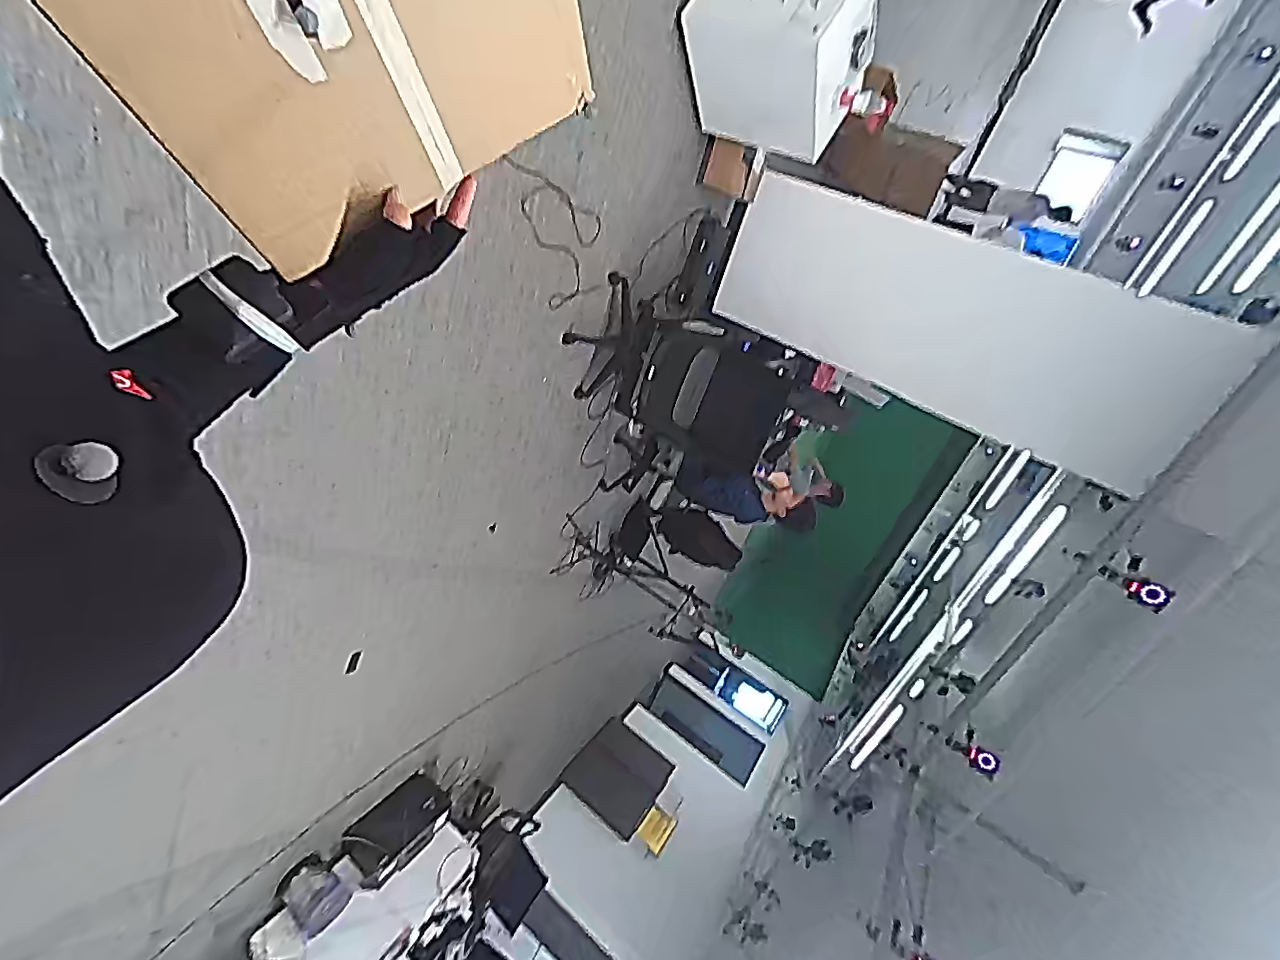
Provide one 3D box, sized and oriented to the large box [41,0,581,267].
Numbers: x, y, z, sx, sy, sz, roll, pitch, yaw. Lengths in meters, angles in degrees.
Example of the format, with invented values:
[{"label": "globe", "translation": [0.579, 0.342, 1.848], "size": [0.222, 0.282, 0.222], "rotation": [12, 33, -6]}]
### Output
[{"label": "large box", "translation": [-0.286, -0.444, 0.349], "size": [0.320, 0.320, 0.408], "rotation": [-38, 156, -12]}]
